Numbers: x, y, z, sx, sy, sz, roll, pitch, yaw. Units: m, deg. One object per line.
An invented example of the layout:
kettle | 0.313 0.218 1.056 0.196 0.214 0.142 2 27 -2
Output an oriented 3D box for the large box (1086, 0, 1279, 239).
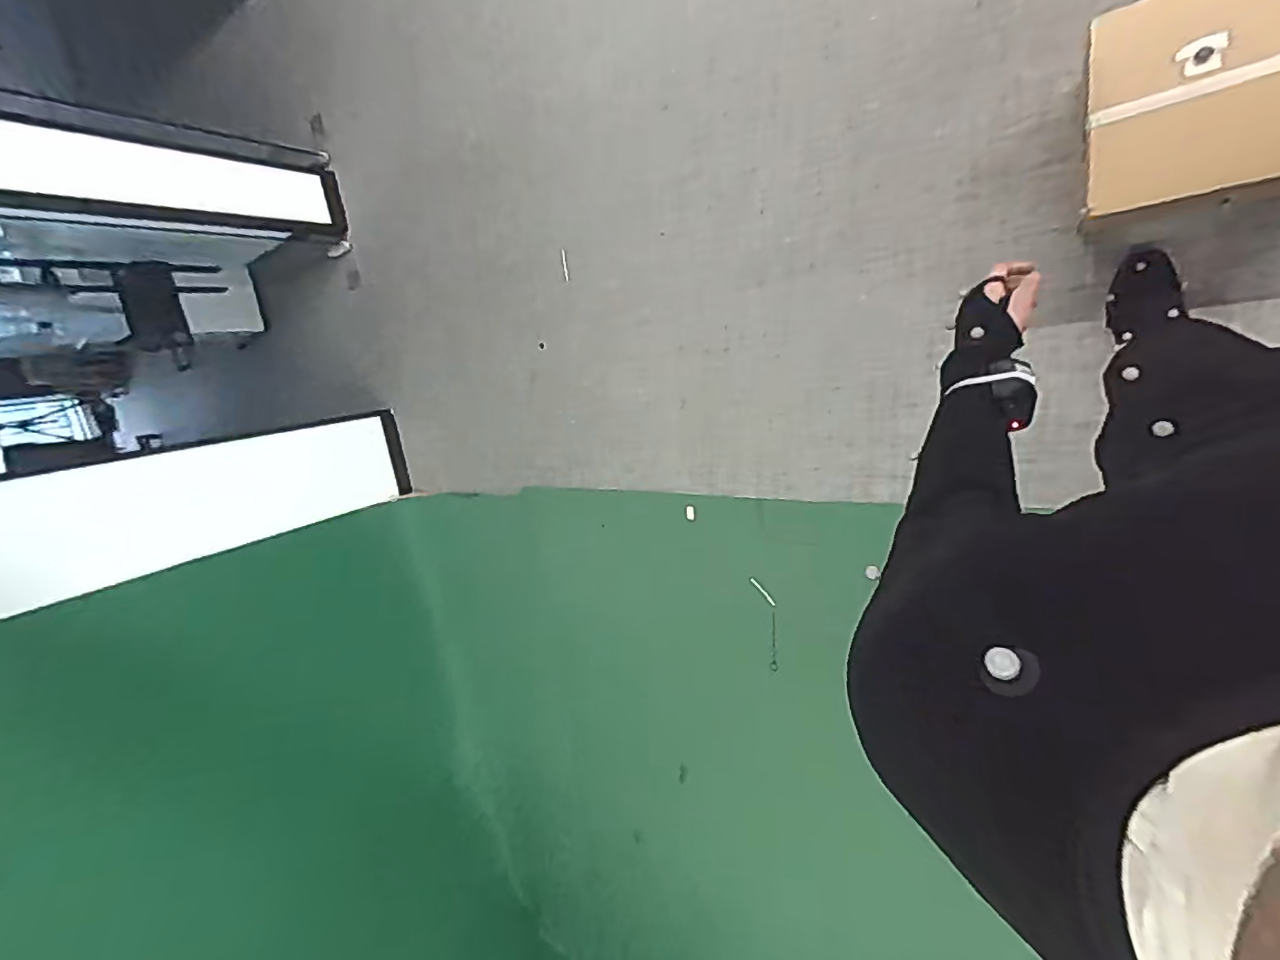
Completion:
large box | 1.039 -0.641 0.934 0.408 0.320 0.320 0 103 38
